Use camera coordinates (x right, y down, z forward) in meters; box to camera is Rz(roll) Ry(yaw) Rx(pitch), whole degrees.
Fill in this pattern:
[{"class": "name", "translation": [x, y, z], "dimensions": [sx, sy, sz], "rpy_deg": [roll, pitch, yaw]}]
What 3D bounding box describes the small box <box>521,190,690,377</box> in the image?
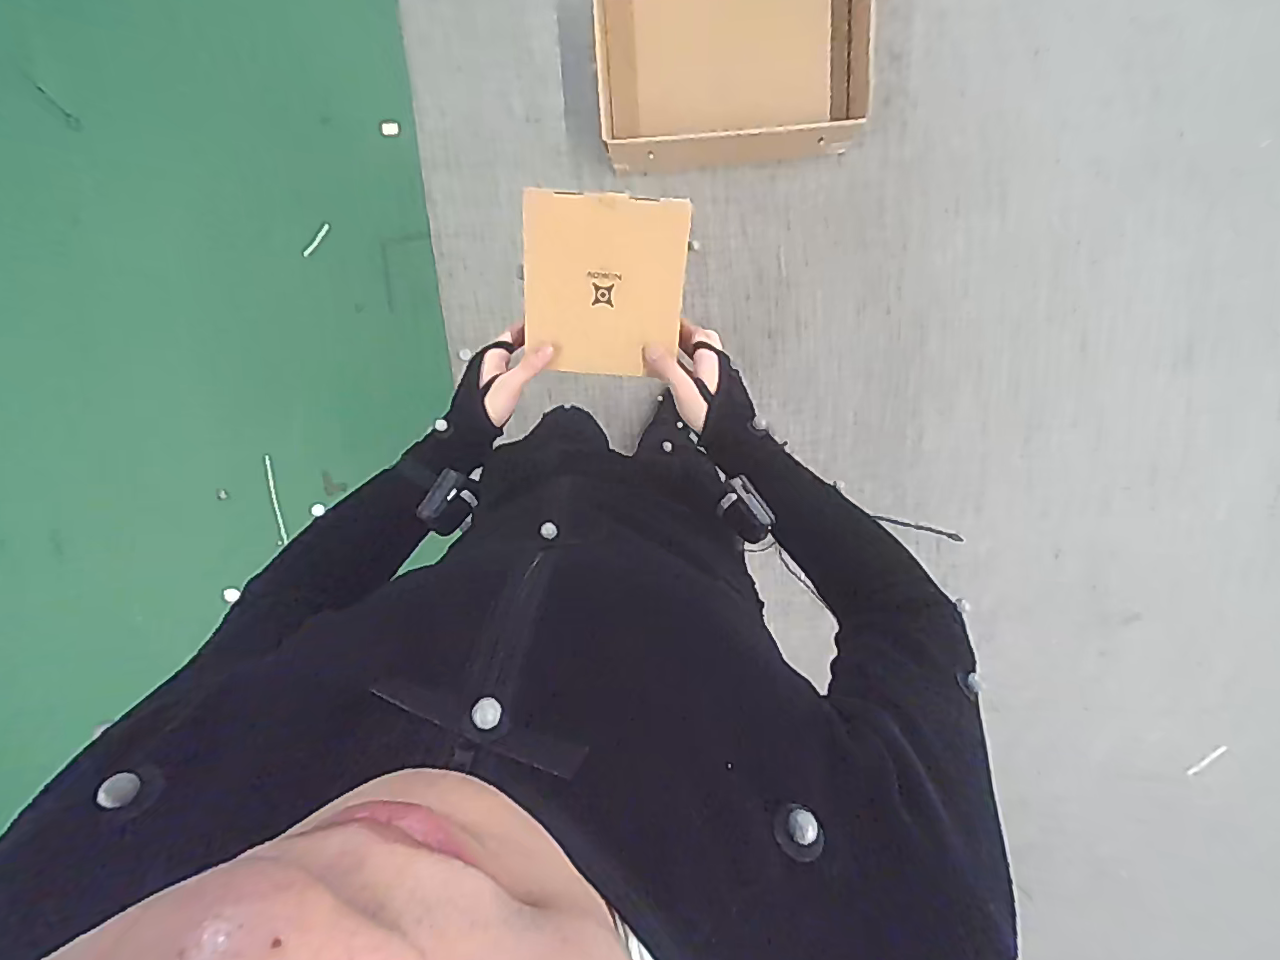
[{"class": "small box", "translation": [-0.032, -0.227, 0.622], "dimensions": [0.168, 0.176, 0.179], "rpy_deg": [3, 114, 1]}]
